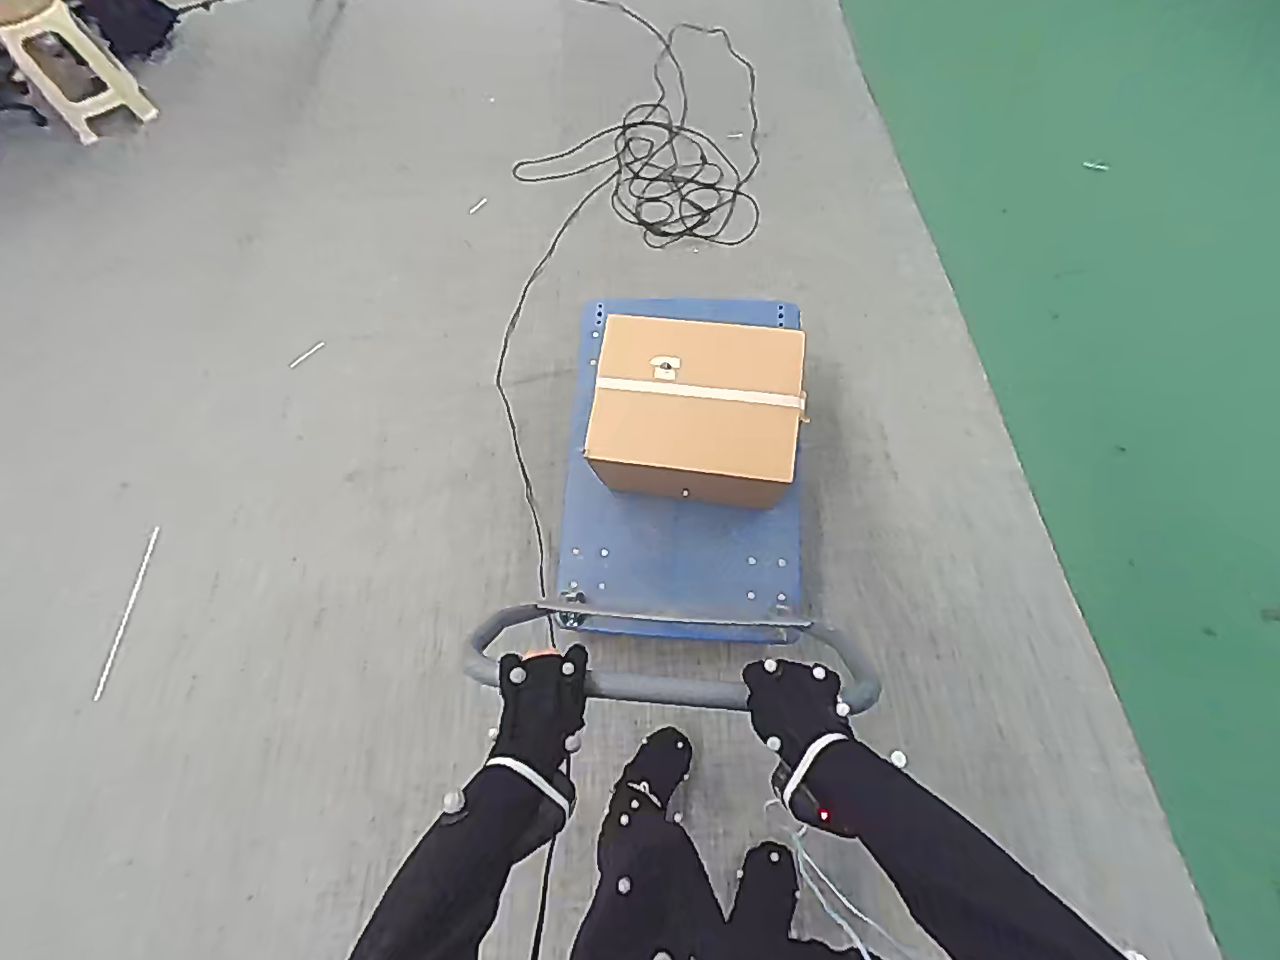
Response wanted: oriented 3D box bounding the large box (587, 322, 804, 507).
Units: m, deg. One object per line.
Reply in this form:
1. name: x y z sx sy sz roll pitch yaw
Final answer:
1. large box: 0.128 -0.128 1.207 0.408 0.320 0.320 7 78 8
